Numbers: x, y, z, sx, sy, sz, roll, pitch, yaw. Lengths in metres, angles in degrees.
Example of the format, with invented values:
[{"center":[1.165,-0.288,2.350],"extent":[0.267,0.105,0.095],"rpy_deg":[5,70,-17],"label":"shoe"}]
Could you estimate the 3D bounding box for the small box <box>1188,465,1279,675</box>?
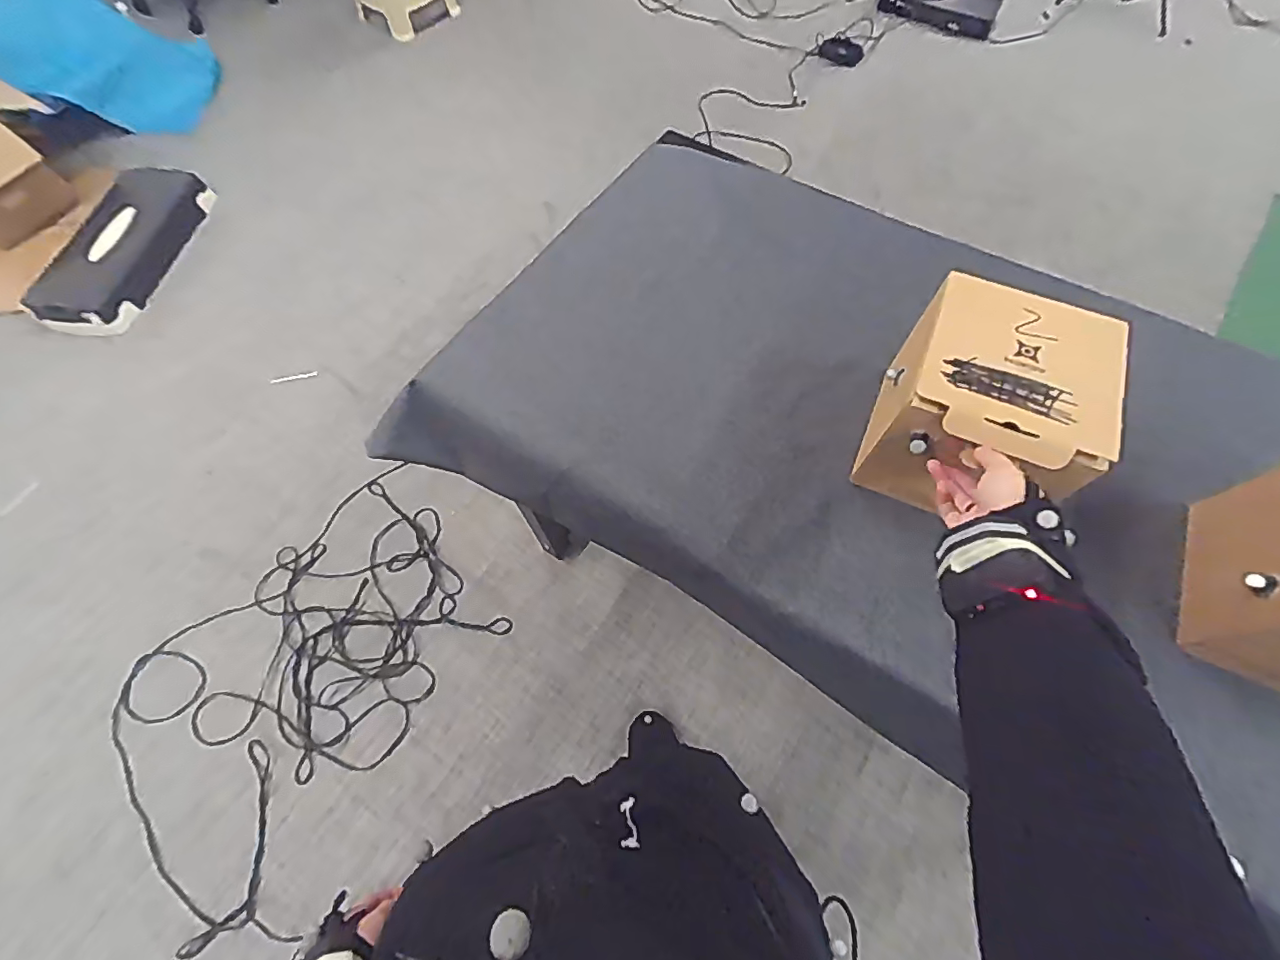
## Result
[{"center":[0.642,0.088,0.473],"extent":[0.168,0.176,0.179],"rpy_deg":[24,66,12],"label":"small box"}]
